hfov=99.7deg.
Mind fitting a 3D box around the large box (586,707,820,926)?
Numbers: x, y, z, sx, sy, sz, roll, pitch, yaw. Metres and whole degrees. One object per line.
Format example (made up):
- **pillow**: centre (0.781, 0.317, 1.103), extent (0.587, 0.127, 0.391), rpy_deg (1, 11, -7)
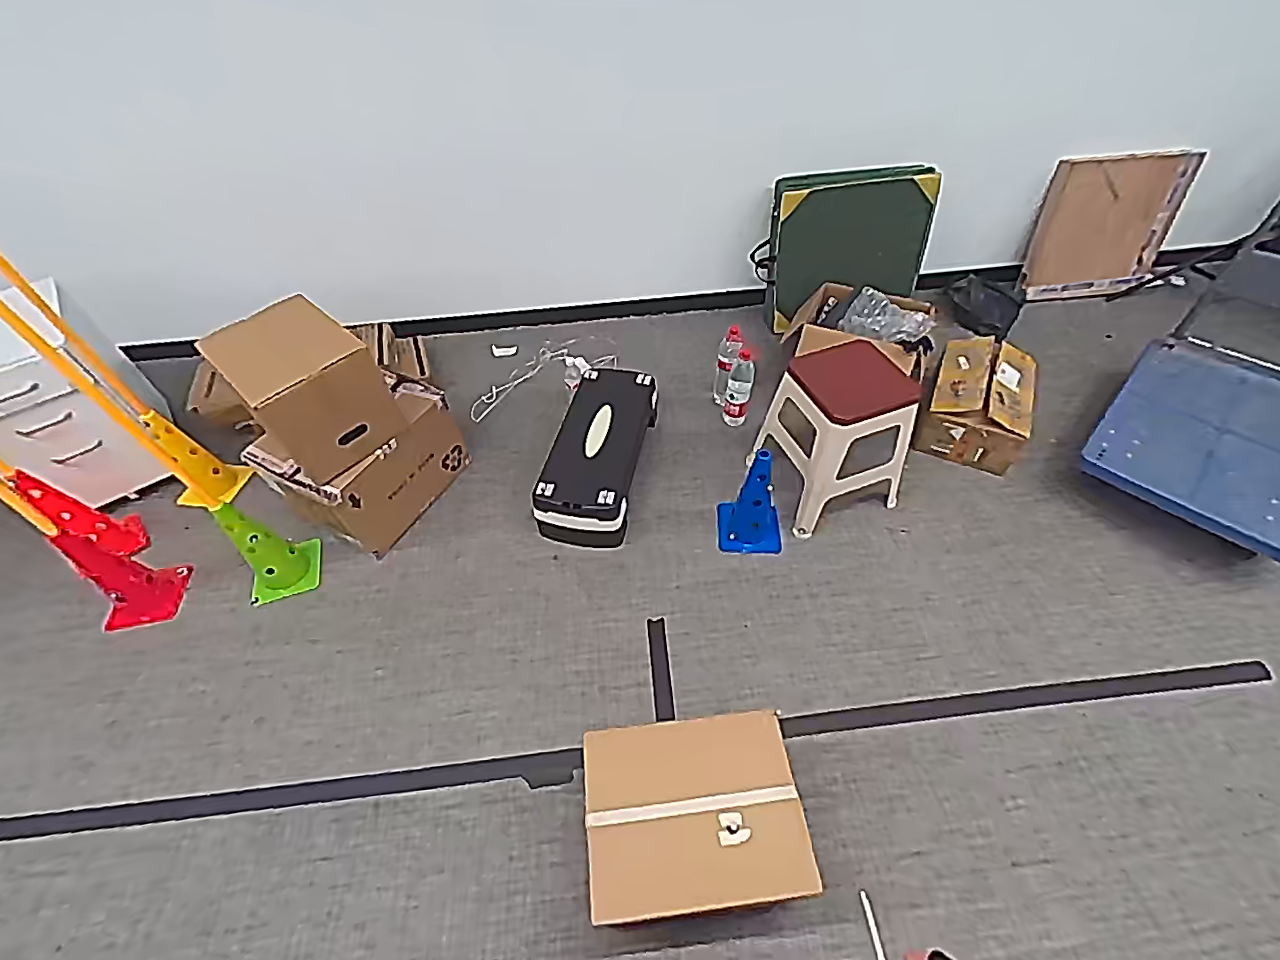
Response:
- **large box**: centre (0.105, 0.712, 1.143), extent (0.408, 0.320, 0.320), rpy_deg (-6, 51, -4)
